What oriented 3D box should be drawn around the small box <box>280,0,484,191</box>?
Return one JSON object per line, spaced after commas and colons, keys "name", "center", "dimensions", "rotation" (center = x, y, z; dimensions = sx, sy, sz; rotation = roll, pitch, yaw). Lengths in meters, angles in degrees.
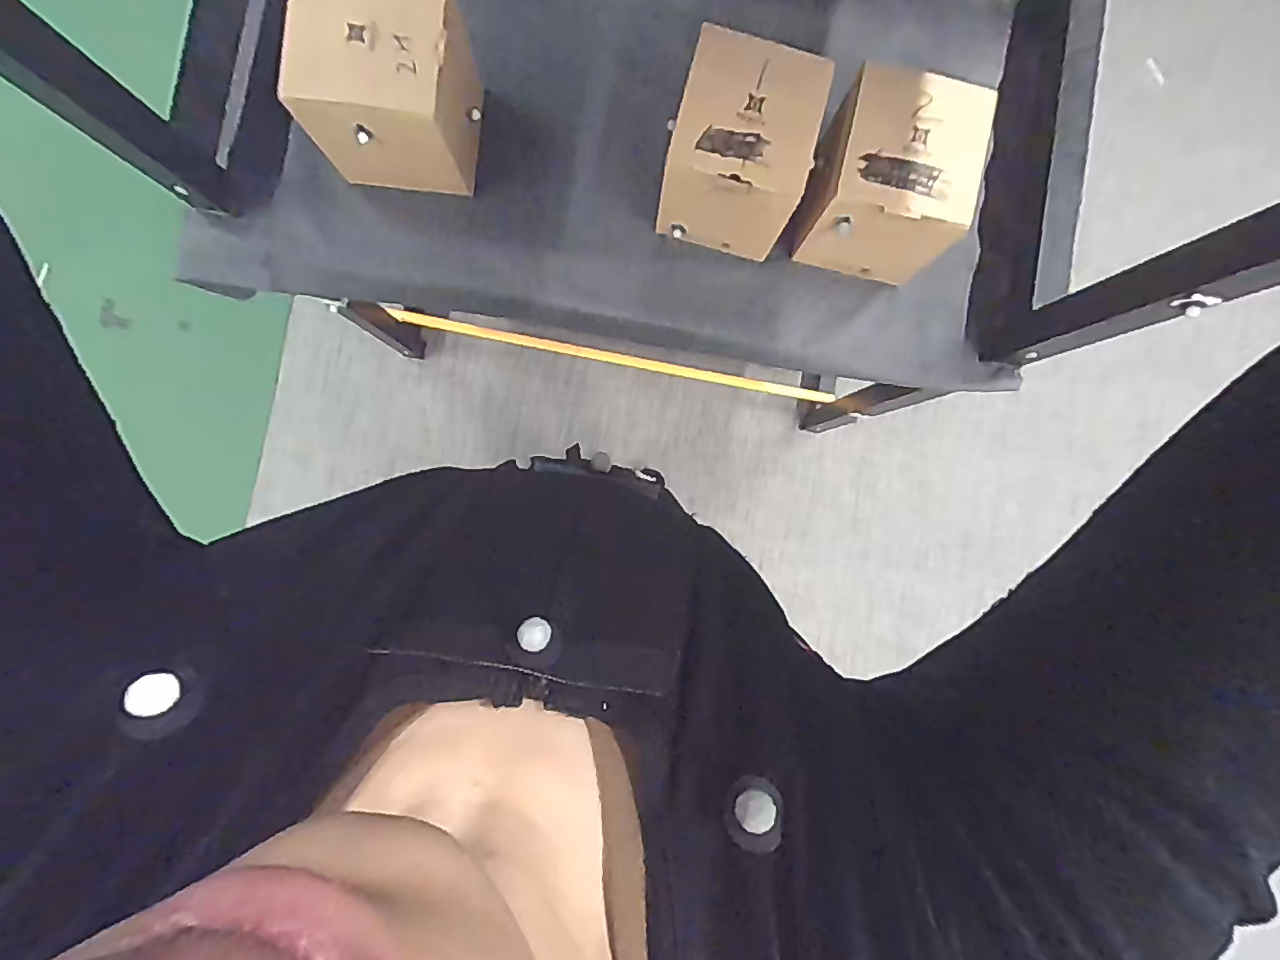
{"name": "small box", "center": [-0.313, -0.497, 0.689], "dimensions": [0.179, 0.176, 0.168], "rotation": [6, 89, -3]}
